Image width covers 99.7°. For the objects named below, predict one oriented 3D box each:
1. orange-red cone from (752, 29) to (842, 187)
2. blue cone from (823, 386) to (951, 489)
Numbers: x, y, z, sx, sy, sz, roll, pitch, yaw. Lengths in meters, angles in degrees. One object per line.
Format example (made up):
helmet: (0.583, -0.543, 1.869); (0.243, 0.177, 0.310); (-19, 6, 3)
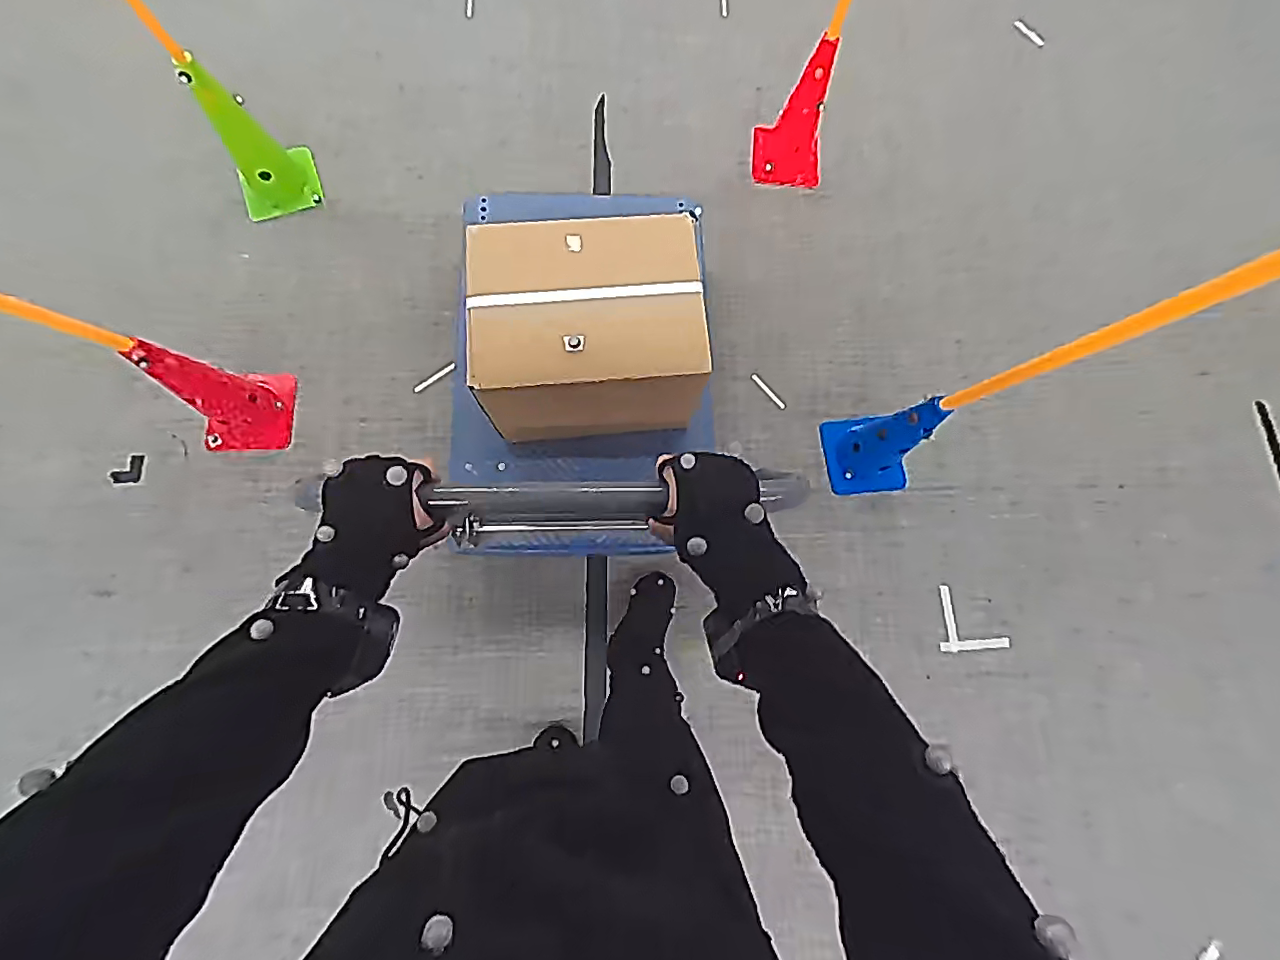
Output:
orange-red cone: (0.443, -0.993, 1.424); (0.199, 0.360, 0.198); (6, 77, -3)
blue cone: (0.588, -0.113, 1.240); (0.193, 0.380, 0.192); (-4, 76, -4)
